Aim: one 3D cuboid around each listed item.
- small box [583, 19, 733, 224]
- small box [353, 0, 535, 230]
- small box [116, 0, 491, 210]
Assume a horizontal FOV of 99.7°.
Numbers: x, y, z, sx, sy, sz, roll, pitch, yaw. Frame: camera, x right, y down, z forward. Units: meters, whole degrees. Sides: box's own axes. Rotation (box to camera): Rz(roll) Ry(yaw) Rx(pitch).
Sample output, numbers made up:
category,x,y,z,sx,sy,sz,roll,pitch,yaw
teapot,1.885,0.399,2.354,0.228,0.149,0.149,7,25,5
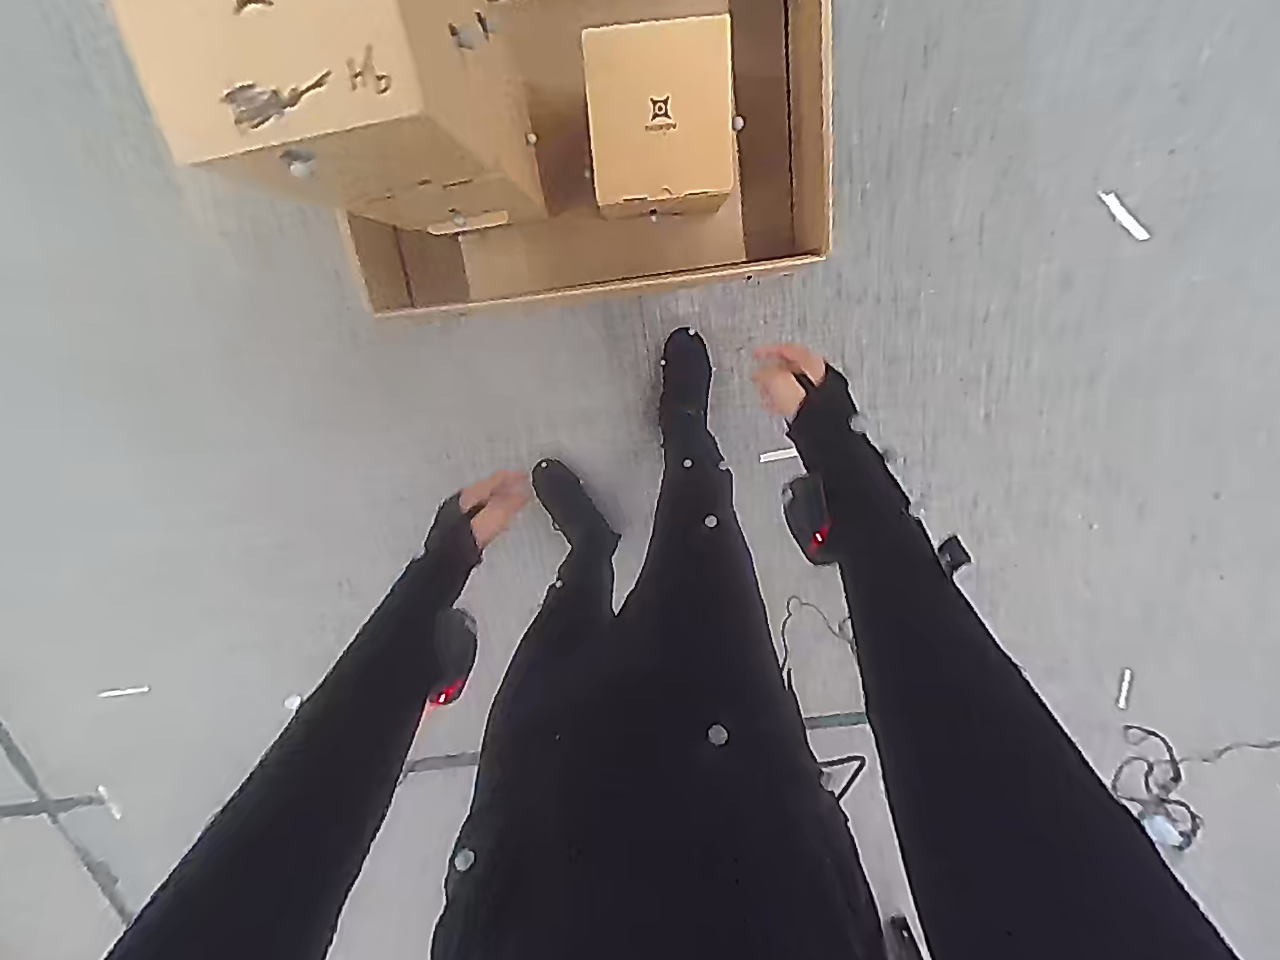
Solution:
category,x,y,z,sx,sy,sz,roll,pitch,yaw
small box,0.023,-0.440,0.693,0.168,0.176,0.179,-4,109,2
small box,-0.216,-0.368,0.544,0.168,0.176,0.179,-9,108,4
small box,-0.224,-0.316,0.388,0.168,0.176,0.179,-9,107,4
